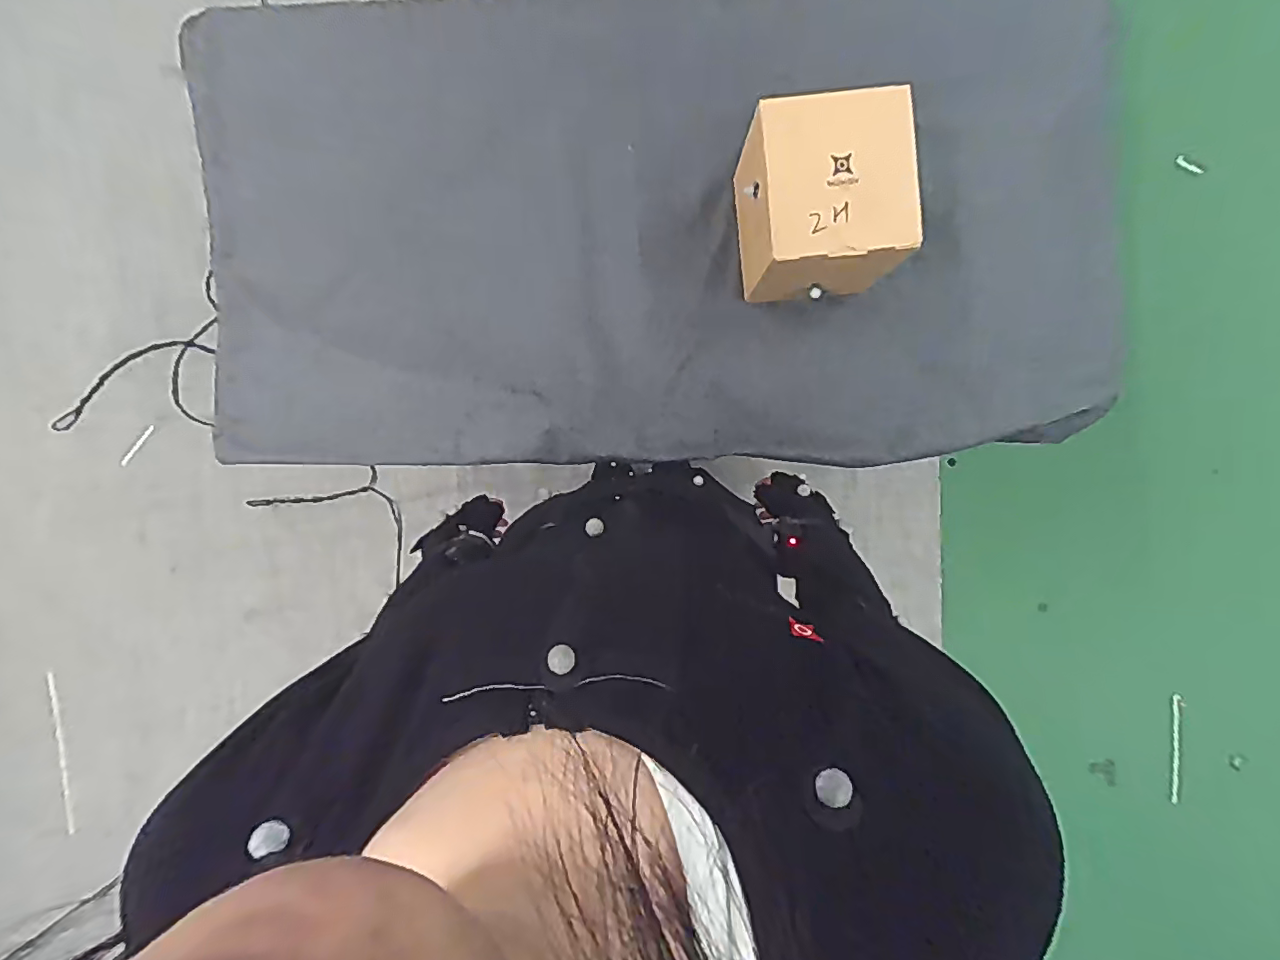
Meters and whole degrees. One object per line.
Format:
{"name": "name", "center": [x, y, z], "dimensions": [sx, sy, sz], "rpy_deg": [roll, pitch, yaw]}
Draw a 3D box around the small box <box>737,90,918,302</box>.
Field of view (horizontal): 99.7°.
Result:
{"name": "small box", "center": [0.220, -0.338, 0.675], "dimensions": [0.168, 0.176, 0.179], "rpy_deg": [-5, 93, 1]}
